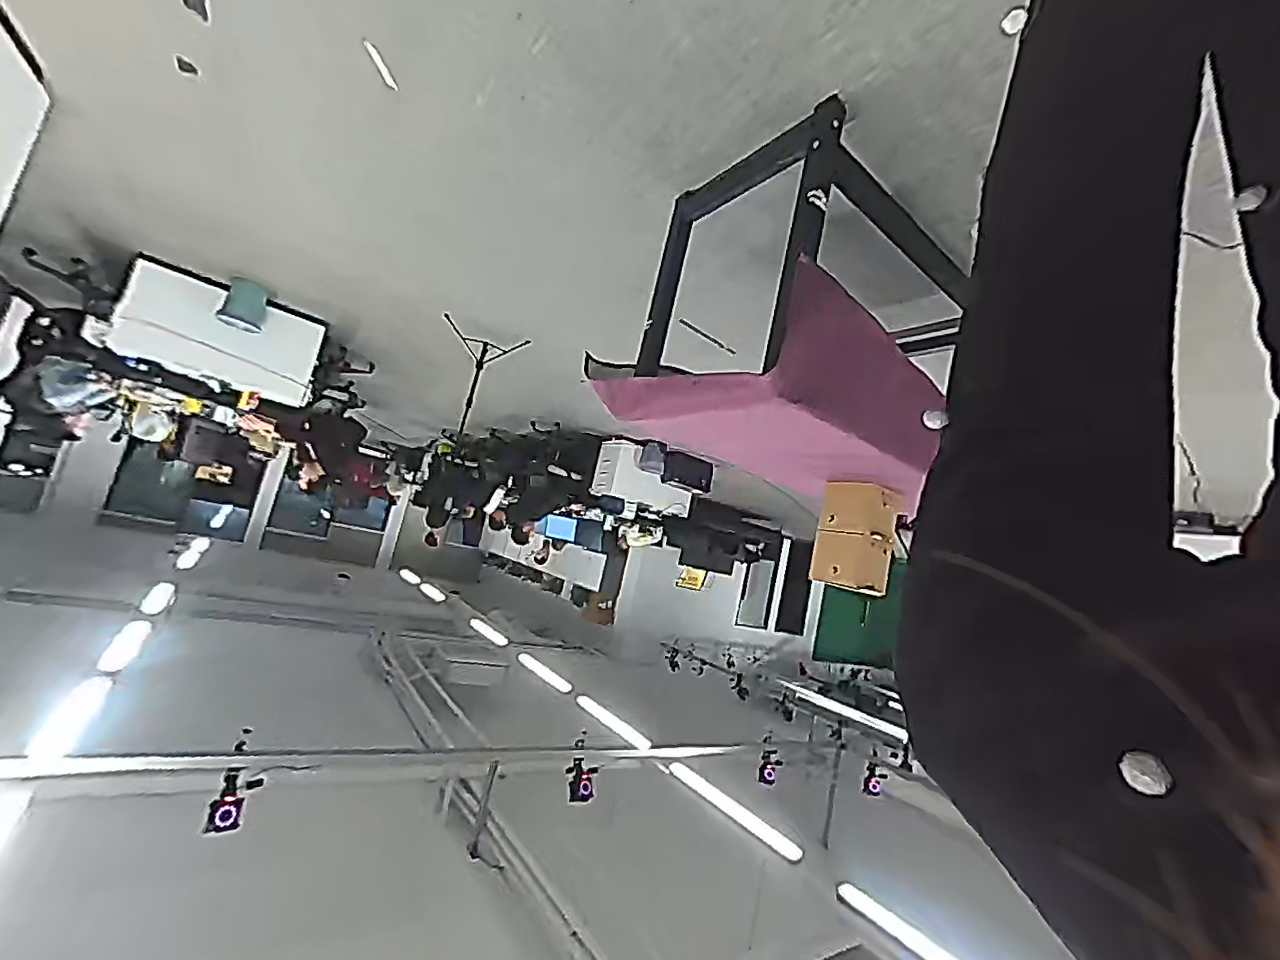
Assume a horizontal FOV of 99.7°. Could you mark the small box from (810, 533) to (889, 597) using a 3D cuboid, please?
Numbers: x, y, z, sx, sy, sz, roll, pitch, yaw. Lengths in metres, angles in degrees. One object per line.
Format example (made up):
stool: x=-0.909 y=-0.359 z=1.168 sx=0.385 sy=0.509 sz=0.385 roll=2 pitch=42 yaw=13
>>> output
small box: x=0.684 y=0.270 z=1.751 sx=0.168 sy=0.176 sz=0.179 roll=18 pitch=172 yaw=-30

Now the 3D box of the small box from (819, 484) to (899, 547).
small box: x=0.720 y=0.111 z=1.772 sx=0.168 sy=0.176 sz=0.179 roll=18 pitch=171 yaw=-34
